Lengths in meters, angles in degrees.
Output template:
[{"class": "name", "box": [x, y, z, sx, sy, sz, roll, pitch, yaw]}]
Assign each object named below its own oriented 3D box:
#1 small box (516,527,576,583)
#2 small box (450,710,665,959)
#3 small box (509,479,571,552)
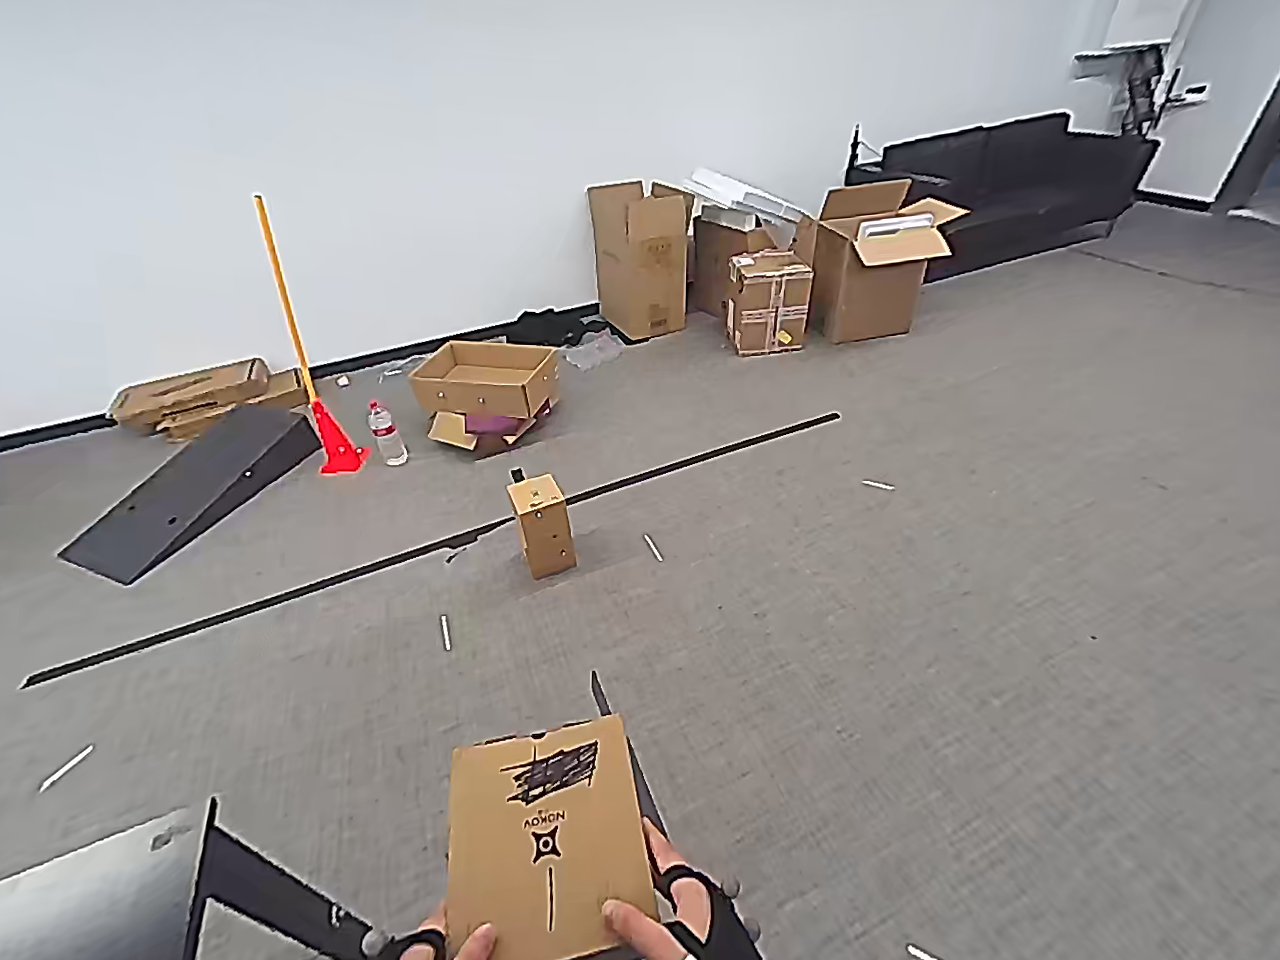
[{"class": "small box", "box": [-0.350, 0.256, 2.045, 0.179, 0.176, 0.168, -19, 39, -15]}, {"class": "small box", "box": [-0.078, 0.356, 0.523, 0.168, 0.176, 0.179, -9, 45, -9]}, {"class": "small box", "box": [-0.360, 0.128, 1.943, 0.168, 0.176, 0.179, -19, 39, -17]}]
